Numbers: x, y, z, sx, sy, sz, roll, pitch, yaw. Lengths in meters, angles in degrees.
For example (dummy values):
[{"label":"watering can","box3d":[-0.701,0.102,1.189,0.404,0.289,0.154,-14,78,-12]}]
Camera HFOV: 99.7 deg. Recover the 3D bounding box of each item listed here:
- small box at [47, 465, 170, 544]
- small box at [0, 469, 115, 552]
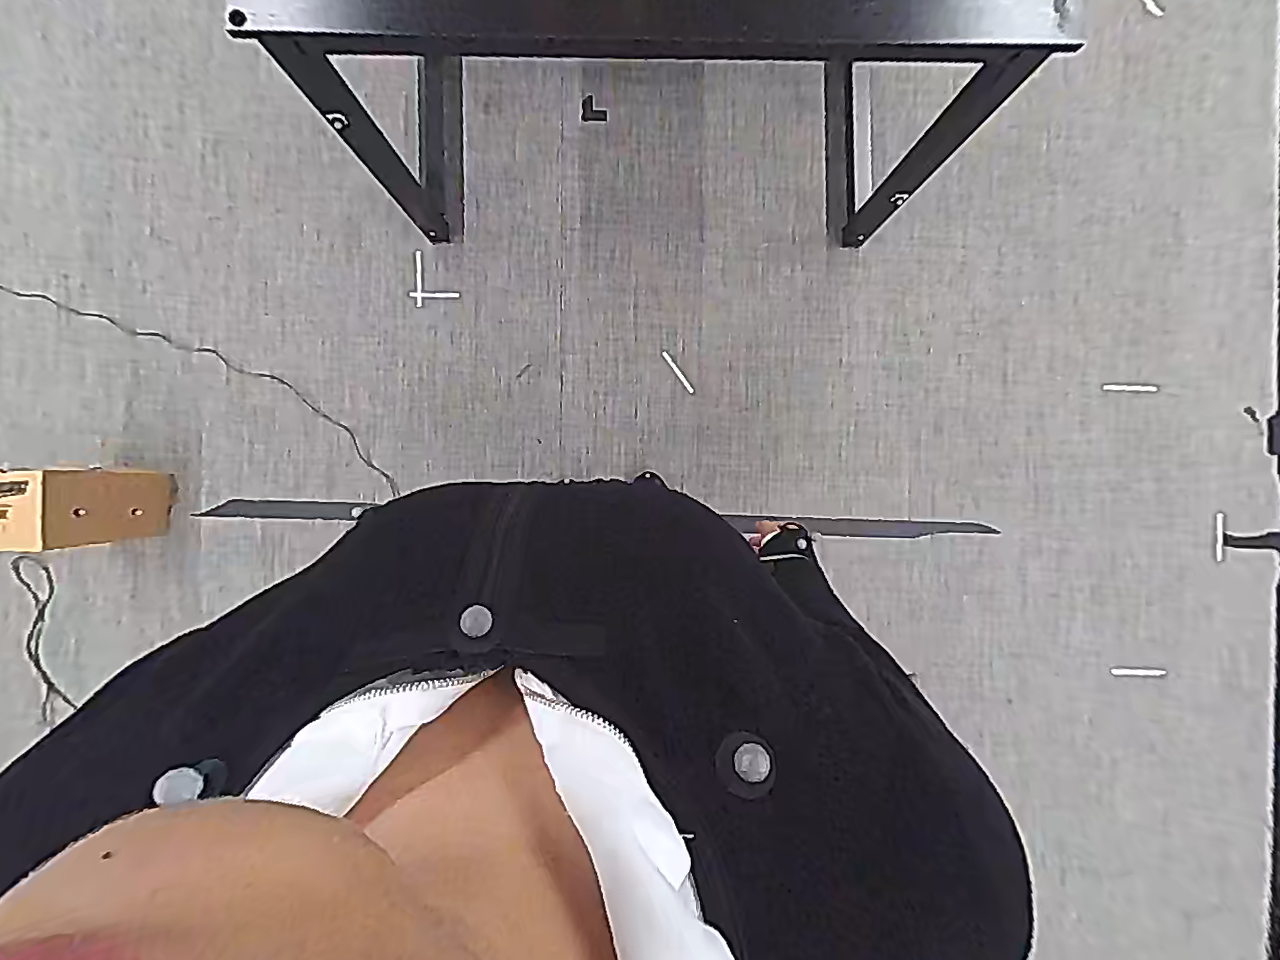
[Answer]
[{"label":"small box","box3d":[-1.360,0.058,1.386,0.168,0.176,0.179,7,91,-1]},{"label":"small box","box3d":[-1.344,0.064,1.221,0.168,0.176,0.179,1,91,-1]}]
